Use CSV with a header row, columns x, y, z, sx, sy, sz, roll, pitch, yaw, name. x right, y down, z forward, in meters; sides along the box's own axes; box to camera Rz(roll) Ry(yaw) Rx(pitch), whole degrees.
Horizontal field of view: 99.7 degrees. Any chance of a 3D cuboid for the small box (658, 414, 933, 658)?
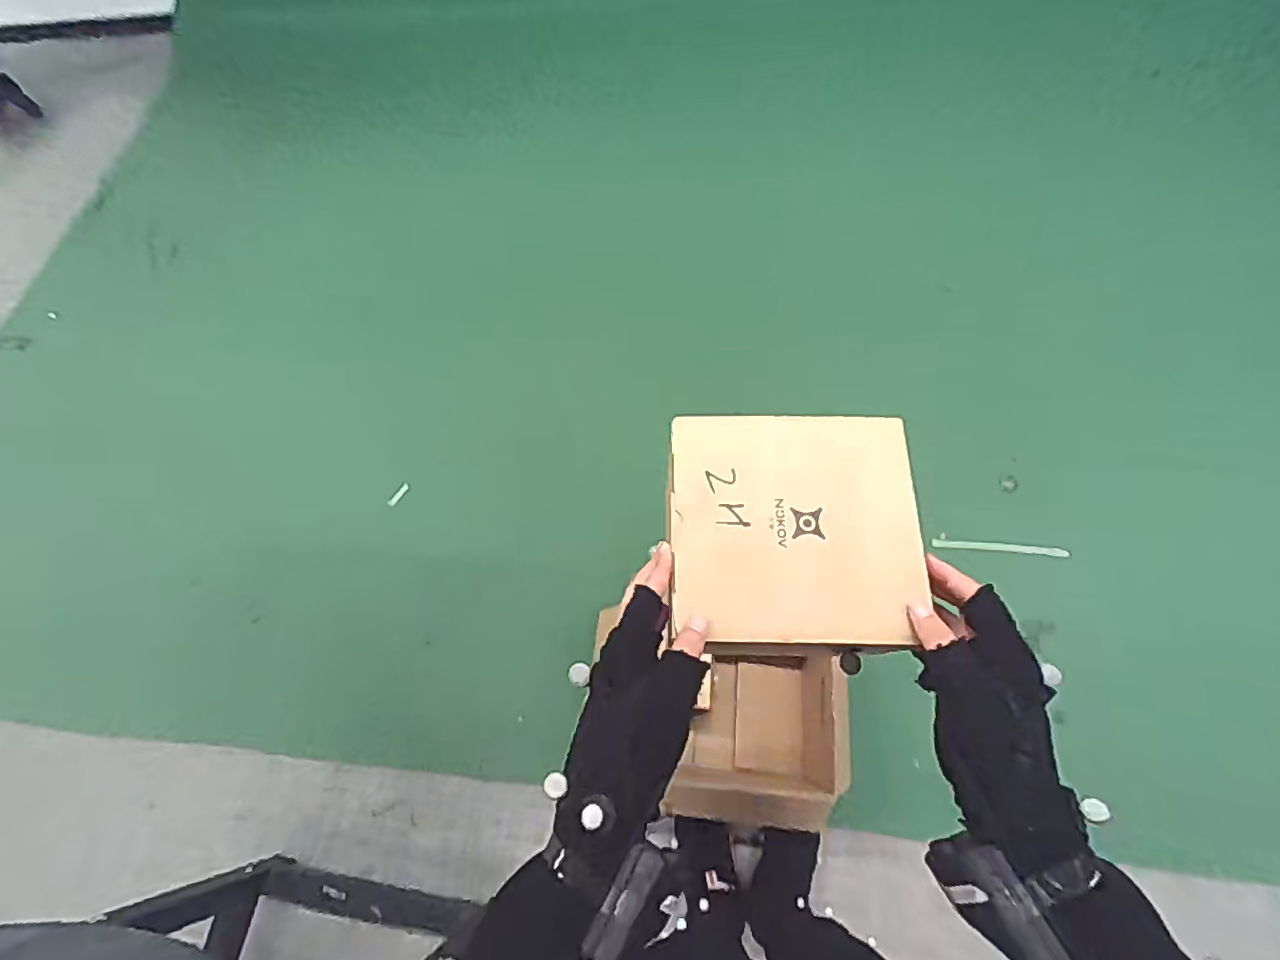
x,y,z,sx,sy,sz,roll,pitch,yaw,name
0.104,0.057,0.446,0.179,0.176,0.168,0,70,2,small box
